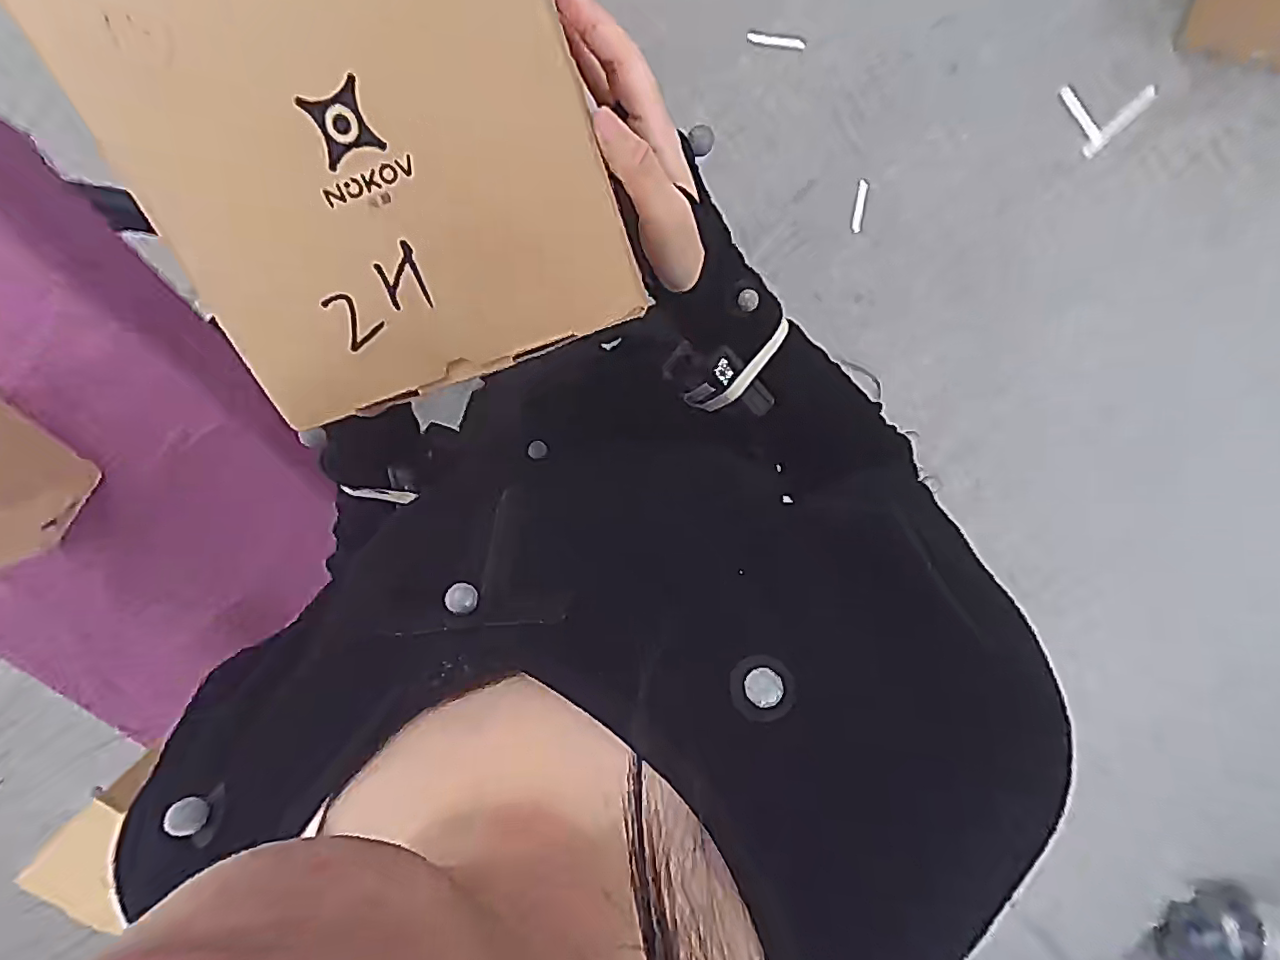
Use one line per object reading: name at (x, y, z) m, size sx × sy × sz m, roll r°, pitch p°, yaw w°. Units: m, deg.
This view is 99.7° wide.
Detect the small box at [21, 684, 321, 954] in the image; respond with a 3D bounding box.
small box at (-0.522, 0.383, 0.631) m, size 0.179 × 0.176 × 0.168 m, roll -43°, pitch 104°, yaw 13°

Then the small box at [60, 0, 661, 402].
small box at (-0.094, -0.162, 0.262) m, size 0.168 × 0.176 × 0.179 m, roll -15°, pitch 116°, yaw 7°
